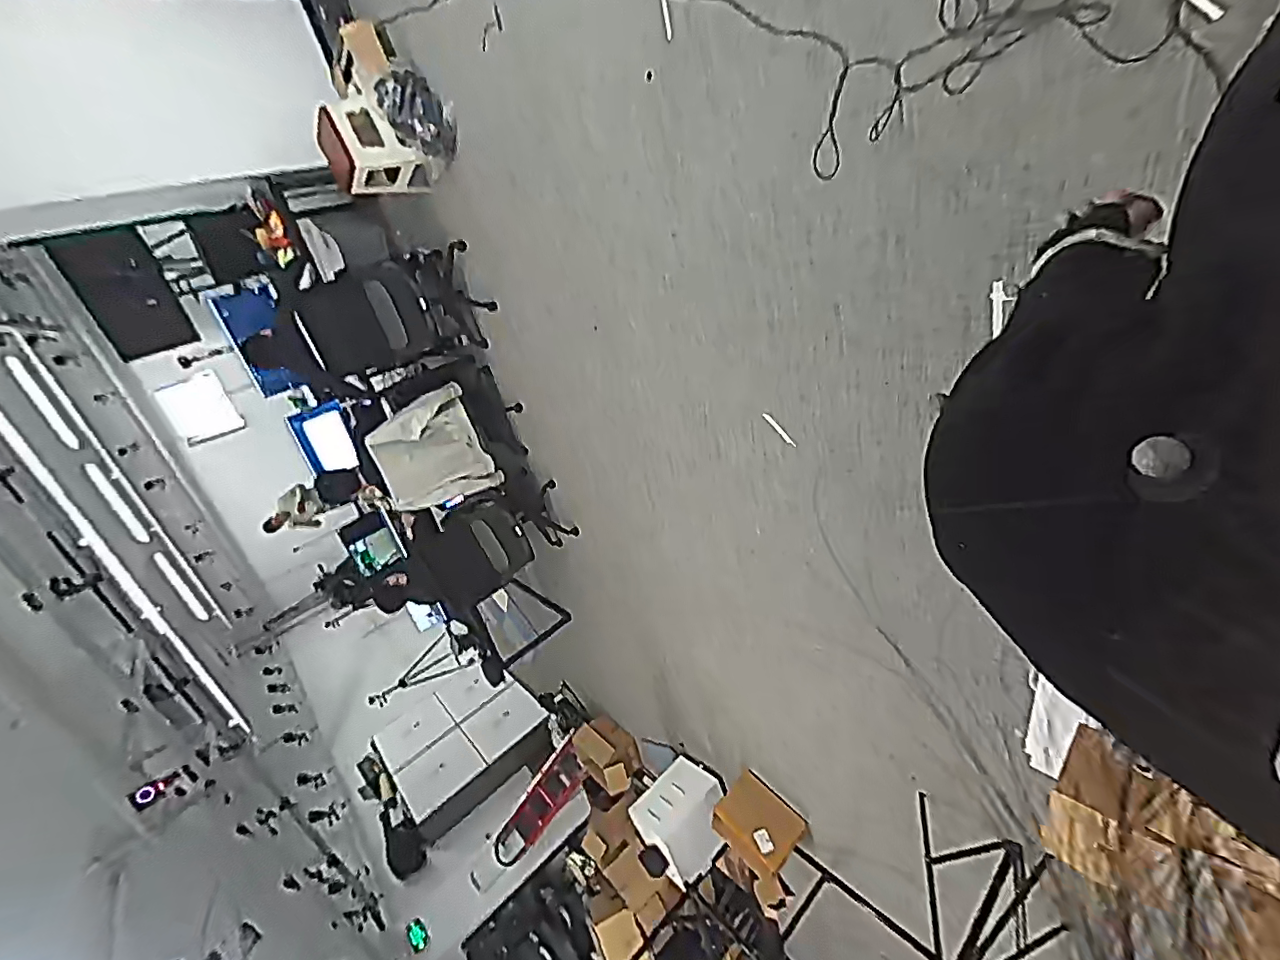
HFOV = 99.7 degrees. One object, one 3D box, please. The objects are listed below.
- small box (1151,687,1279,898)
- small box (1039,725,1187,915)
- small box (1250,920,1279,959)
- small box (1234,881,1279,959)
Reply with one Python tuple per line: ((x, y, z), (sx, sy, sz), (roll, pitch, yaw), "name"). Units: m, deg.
((0.852, 0.427, 0.744), (0.168, 0.176, 0.179), (21, 133, 45), "small box")
((0.814, 0.566, 0.922), (0.168, 0.176, 0.179), (17, 128, 45), "small box")
((0.861, 0.699, 0.656), (0.168, 0.176, 0.179), (17, 130, 48), "small box")
((0.974, 0.626, 0.746), (0.168, 0.176, 0.179), (20, 132, 46), "small box")
